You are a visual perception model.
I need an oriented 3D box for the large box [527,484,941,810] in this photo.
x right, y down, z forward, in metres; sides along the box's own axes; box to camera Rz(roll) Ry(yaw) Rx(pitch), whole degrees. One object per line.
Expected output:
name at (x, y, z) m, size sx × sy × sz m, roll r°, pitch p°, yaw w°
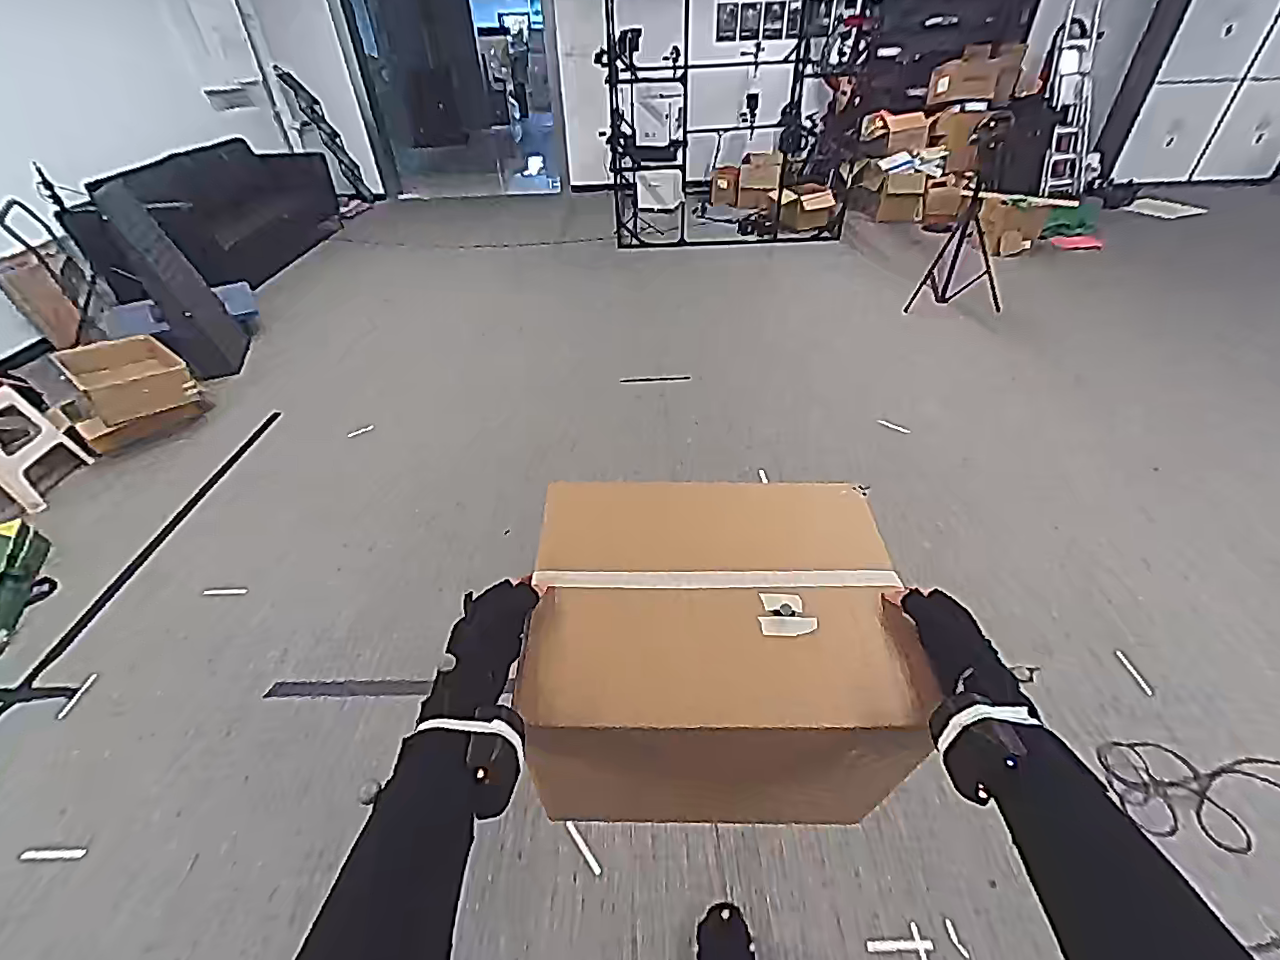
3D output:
large box at (0.086, 0.219, 0.718) m, size 0.408 × 0.320 × 0.320 m, roll 0°, pitch 45°, yaw 0°
